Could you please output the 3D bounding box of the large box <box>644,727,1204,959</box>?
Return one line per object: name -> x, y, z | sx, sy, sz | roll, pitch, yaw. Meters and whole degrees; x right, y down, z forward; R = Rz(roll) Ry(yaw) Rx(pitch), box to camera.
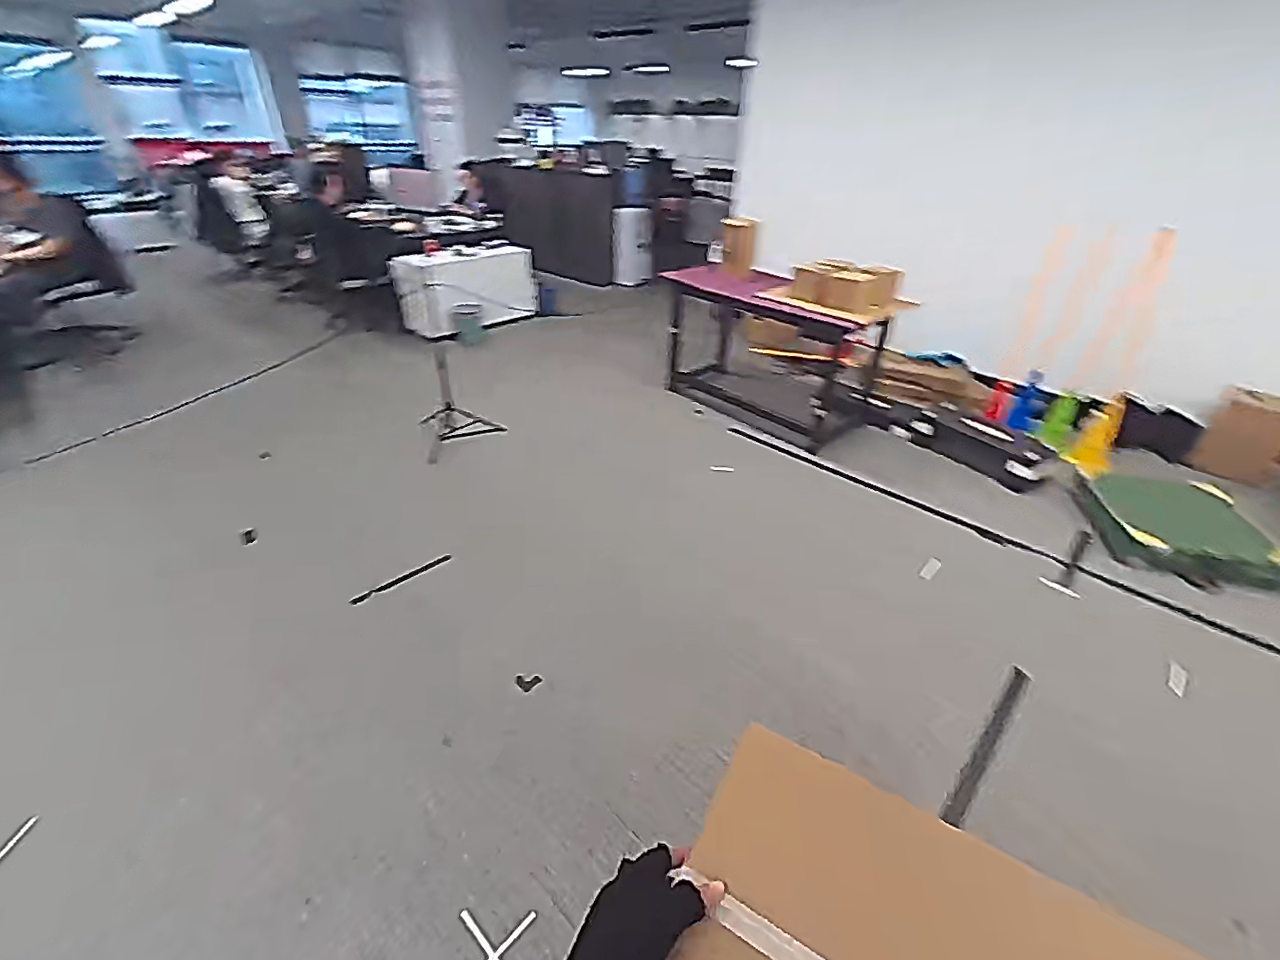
large box -> 0.216, 0.523, 0.519 | 0.408, 0.320, 0.320 | 21, 51, 23
